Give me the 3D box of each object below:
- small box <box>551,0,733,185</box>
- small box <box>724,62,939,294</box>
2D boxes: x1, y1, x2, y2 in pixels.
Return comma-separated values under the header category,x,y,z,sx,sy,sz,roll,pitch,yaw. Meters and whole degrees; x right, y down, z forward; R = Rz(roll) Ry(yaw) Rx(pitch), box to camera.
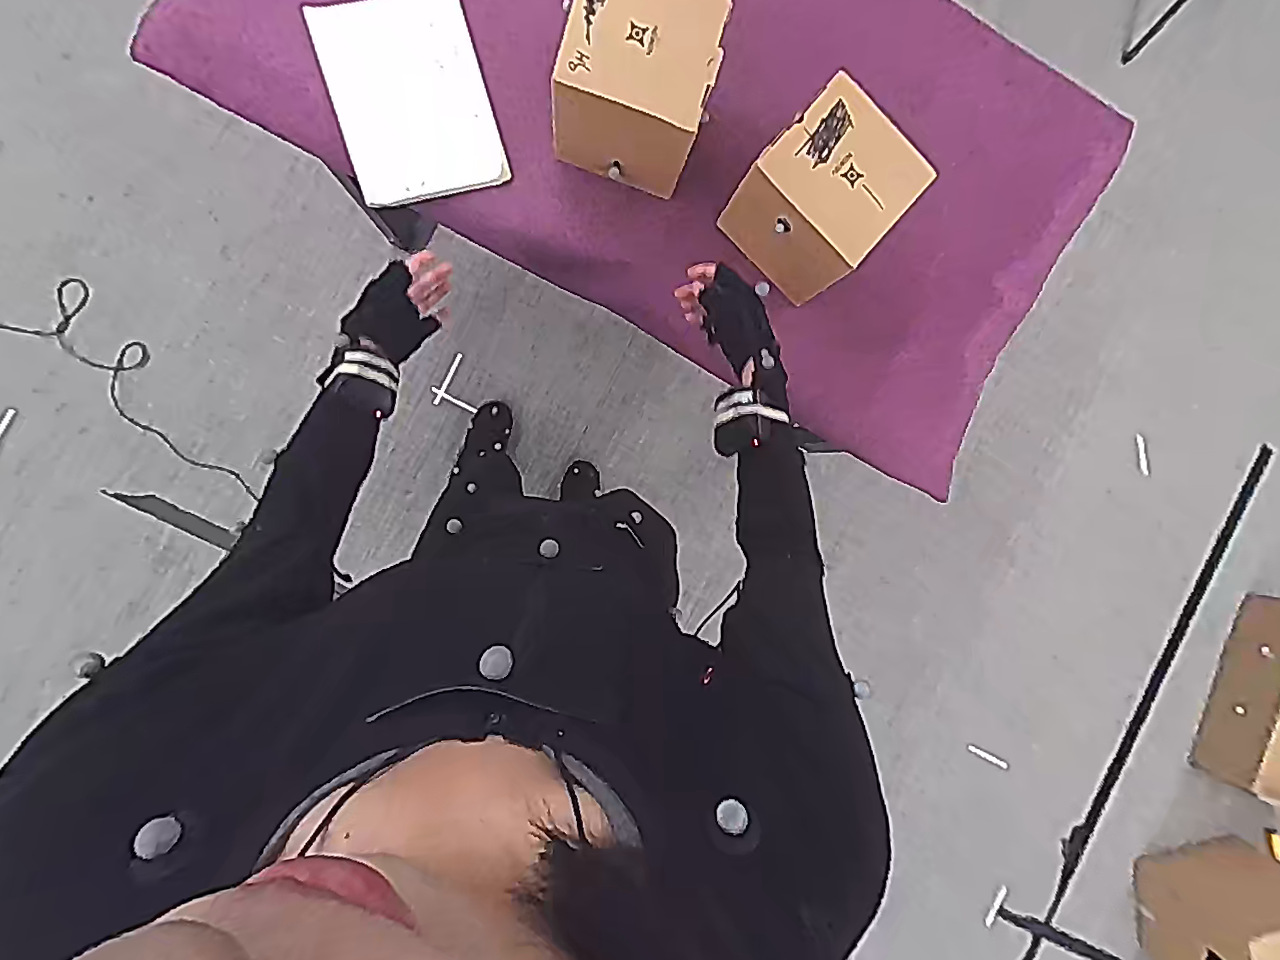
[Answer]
category,x,y,z,sx,sy,sz,roll,pitch,yaw
small box,-0.006,-0.512,0.690,0.179,0.176,0.168,16,89,-8
small box,0.239,-0.384,0.724,0.179,0.176,0.168,43,86,-7
